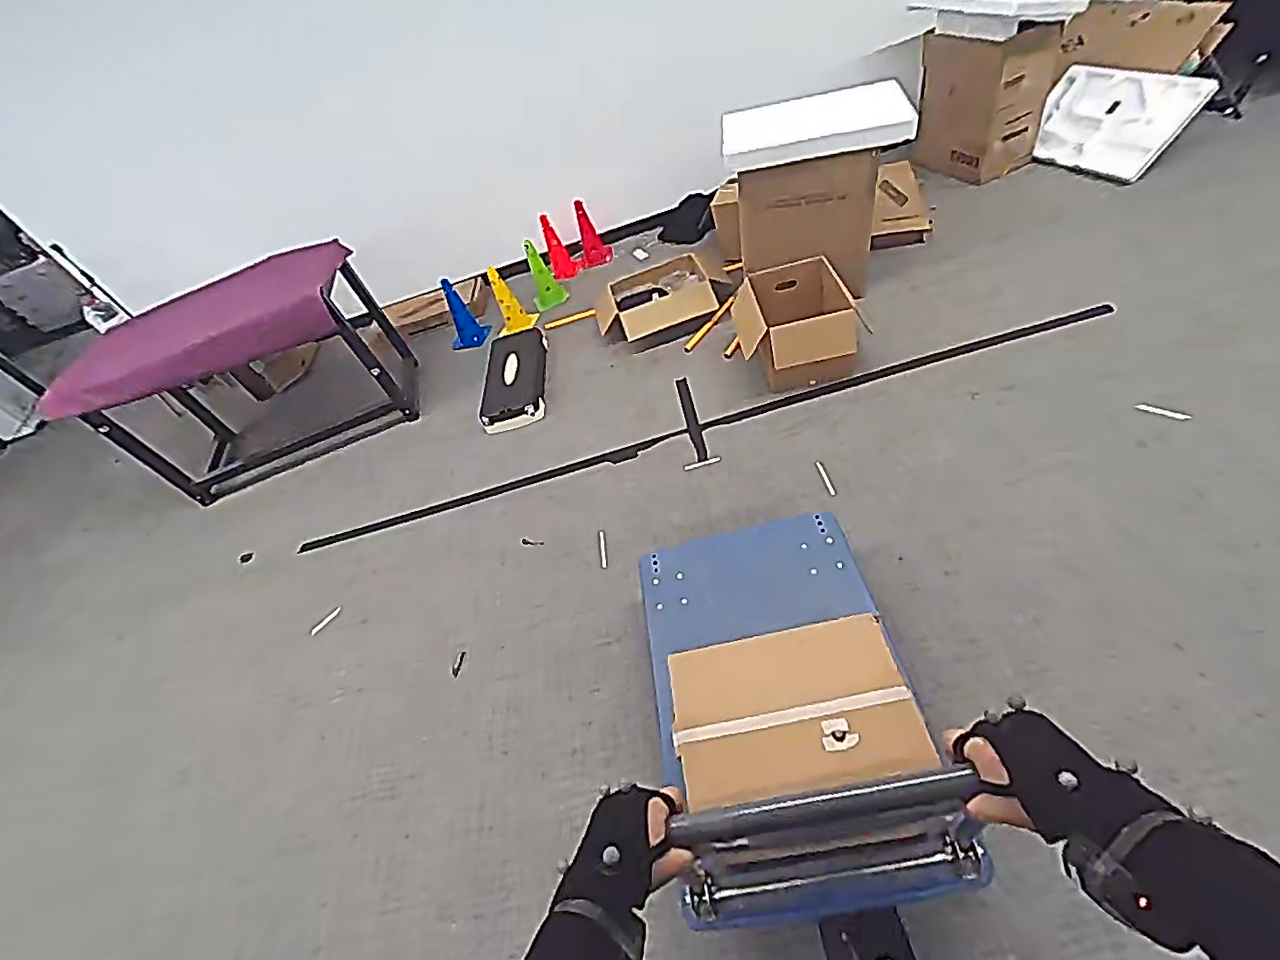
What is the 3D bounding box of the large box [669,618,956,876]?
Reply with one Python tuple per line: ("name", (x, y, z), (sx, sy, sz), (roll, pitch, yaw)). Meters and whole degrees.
("large box", (0.296, 0.512, 1.023), (0.408, 0.320, 0.320), (-14, 47, 6))
